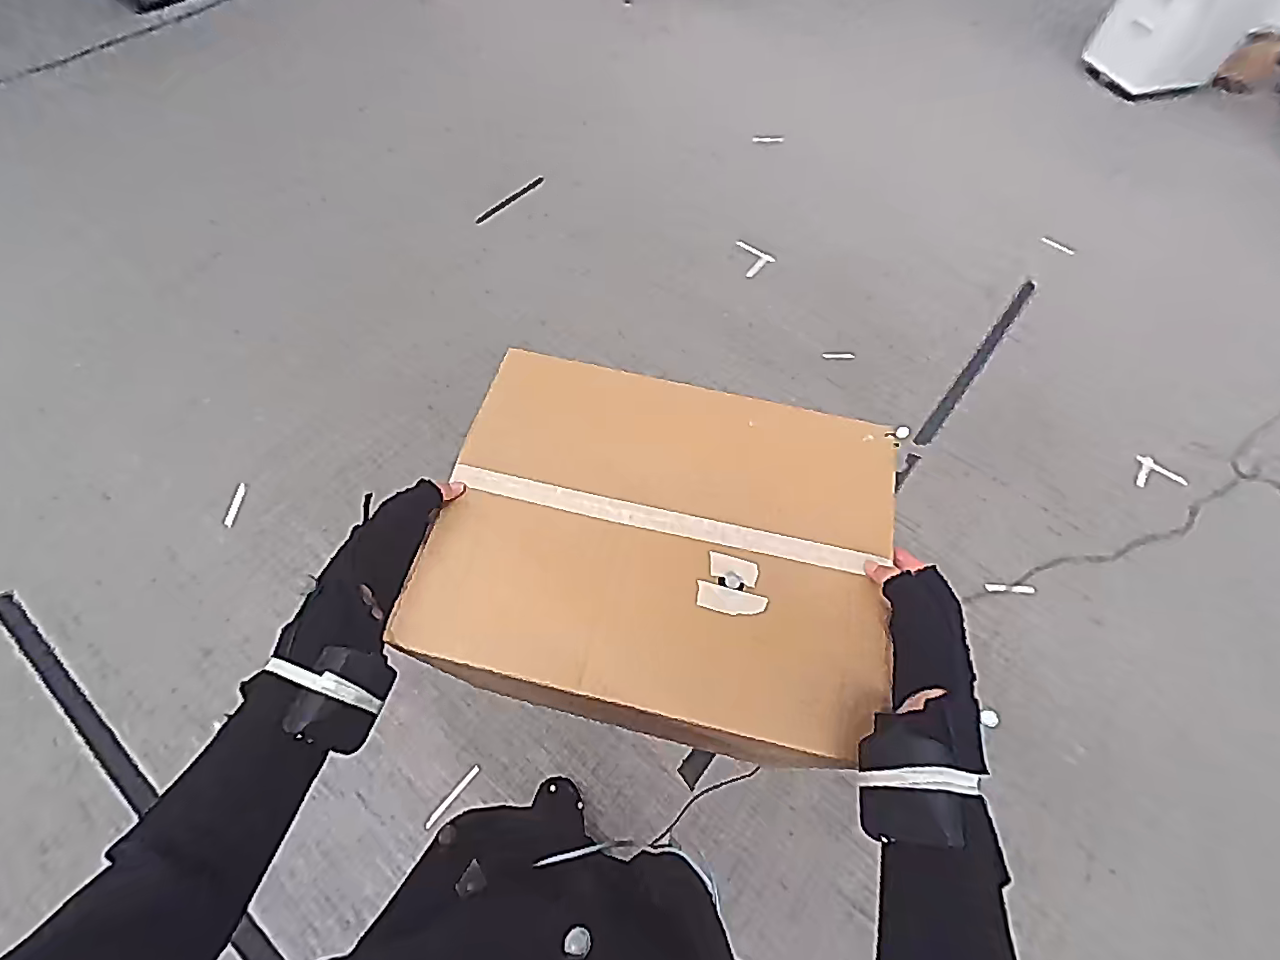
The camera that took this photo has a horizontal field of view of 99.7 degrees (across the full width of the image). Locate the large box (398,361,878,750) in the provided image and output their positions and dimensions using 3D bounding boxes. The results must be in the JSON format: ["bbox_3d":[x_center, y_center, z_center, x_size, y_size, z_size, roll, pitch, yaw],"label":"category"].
[{"bbox_3d":[0.013,0.107,0.634,0.408,0.320,0.320,12,64,3],"label":"large box"}]
